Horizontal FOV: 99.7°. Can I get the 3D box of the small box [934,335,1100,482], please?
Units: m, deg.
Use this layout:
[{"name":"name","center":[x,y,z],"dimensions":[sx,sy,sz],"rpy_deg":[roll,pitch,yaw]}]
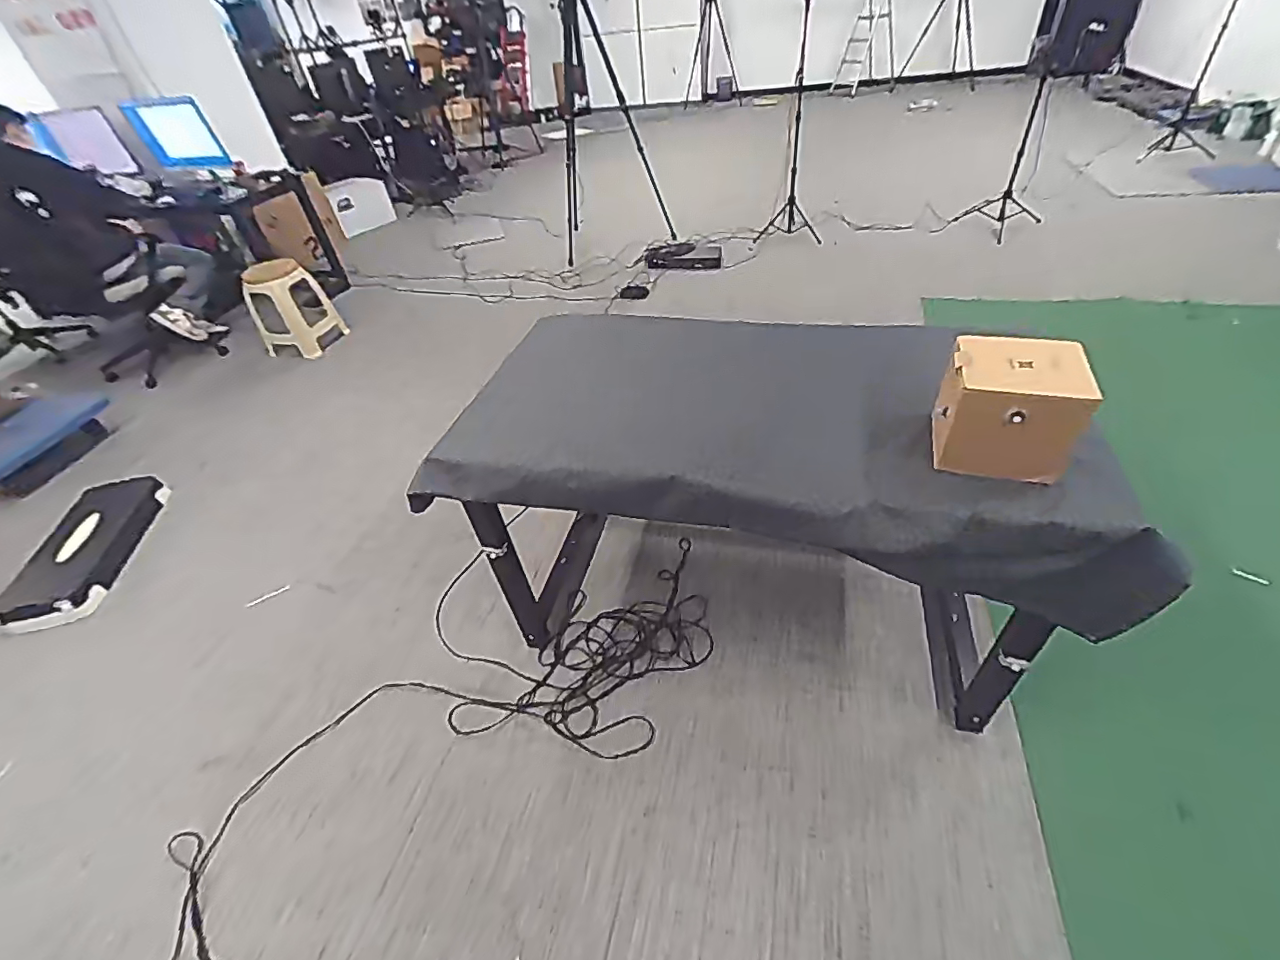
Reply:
[{"name":"small box","center":[0.591,-0.116,0.879],"dimensions":[0.179,0.176,0.168],"rpy_deg":[10,46,18]}]
